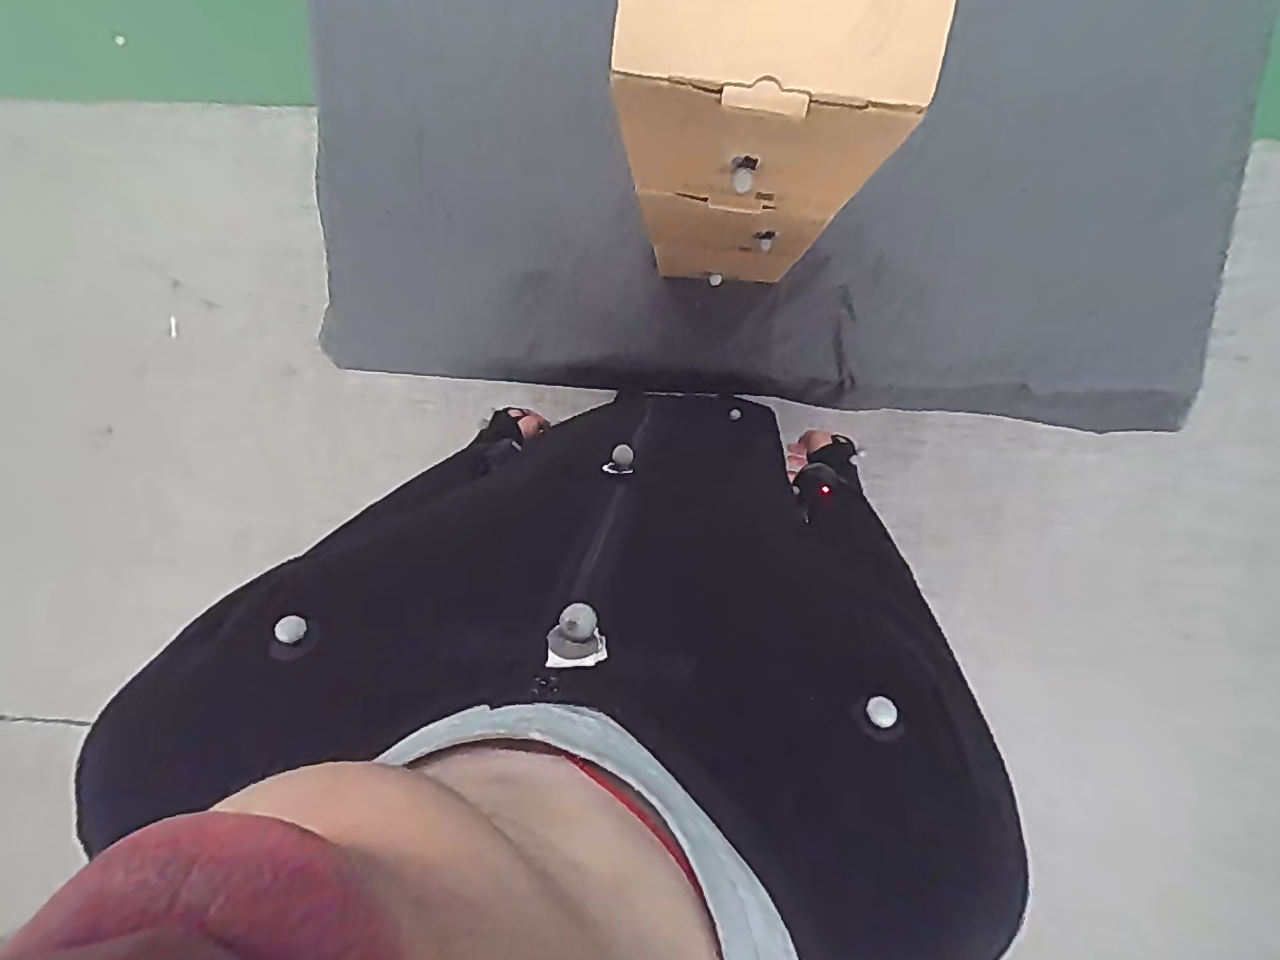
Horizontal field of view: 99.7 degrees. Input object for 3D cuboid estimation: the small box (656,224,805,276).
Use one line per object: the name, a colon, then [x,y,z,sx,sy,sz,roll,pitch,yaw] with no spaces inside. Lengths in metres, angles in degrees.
small box: [0.112,-0.357,0.651,0.168,0.176,0.179,6,102,5]

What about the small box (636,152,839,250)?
small box: [0.095,-0.325,0.494,0.168,0.176,0.179,8,100,3]

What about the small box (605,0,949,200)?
small box: [0.083,-0.294,0.334,0.168,0.176,0.179,10,103,3]
